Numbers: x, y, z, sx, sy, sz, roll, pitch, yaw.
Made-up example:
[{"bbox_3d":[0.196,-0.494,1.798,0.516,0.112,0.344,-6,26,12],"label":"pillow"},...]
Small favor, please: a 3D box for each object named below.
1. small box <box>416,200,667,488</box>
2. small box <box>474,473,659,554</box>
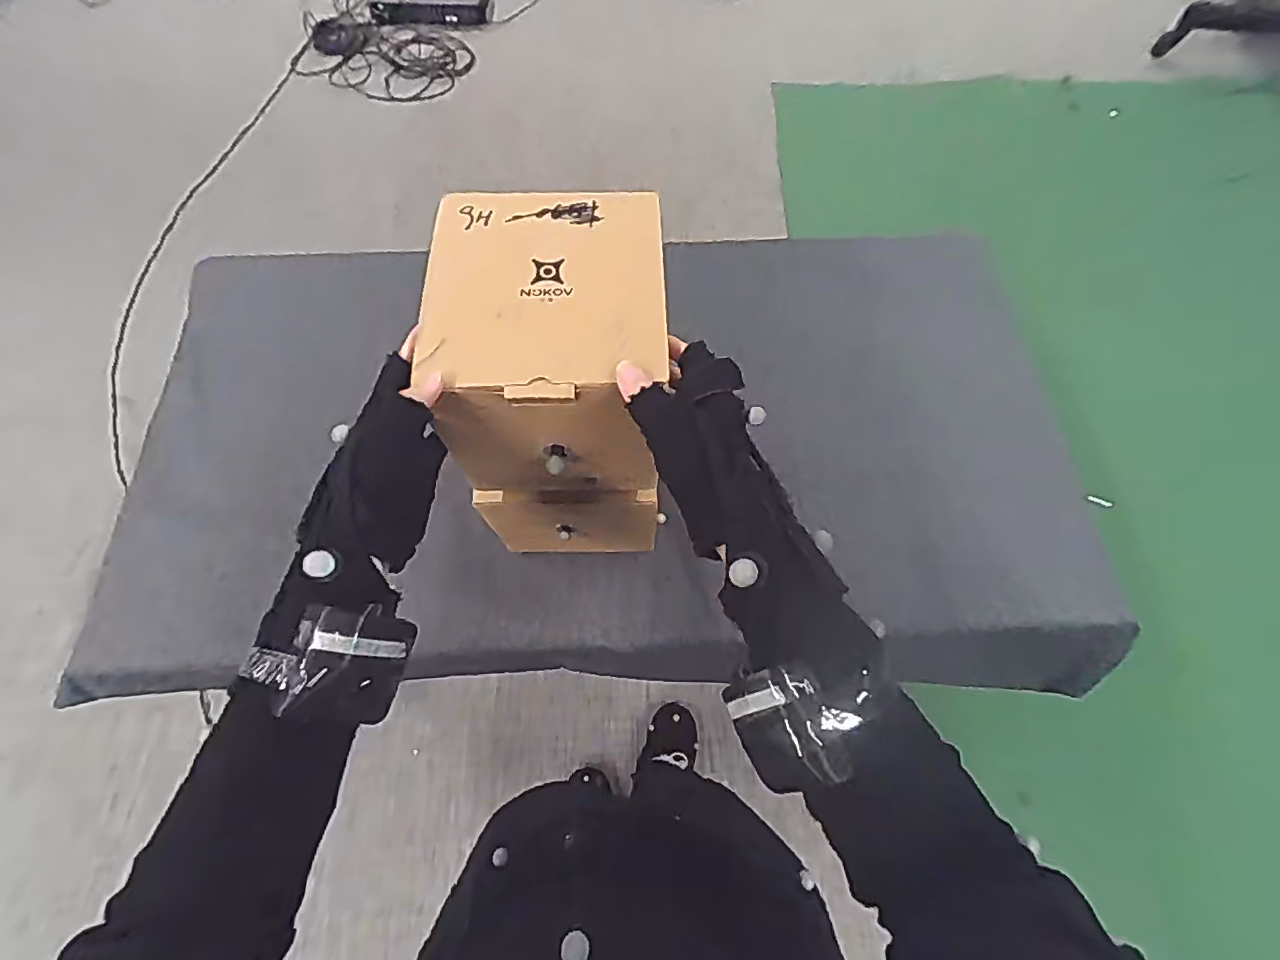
[{"bbox_3d":[-0.065,-0.098,0.449,0.168,0.176,0.179,-1,67,-2],"label":"small box"},{"bbox_3d":[-0.070,-0.017,0.613,0.179,0.176,0.168,-1,66,1],"label":"small box"}]
